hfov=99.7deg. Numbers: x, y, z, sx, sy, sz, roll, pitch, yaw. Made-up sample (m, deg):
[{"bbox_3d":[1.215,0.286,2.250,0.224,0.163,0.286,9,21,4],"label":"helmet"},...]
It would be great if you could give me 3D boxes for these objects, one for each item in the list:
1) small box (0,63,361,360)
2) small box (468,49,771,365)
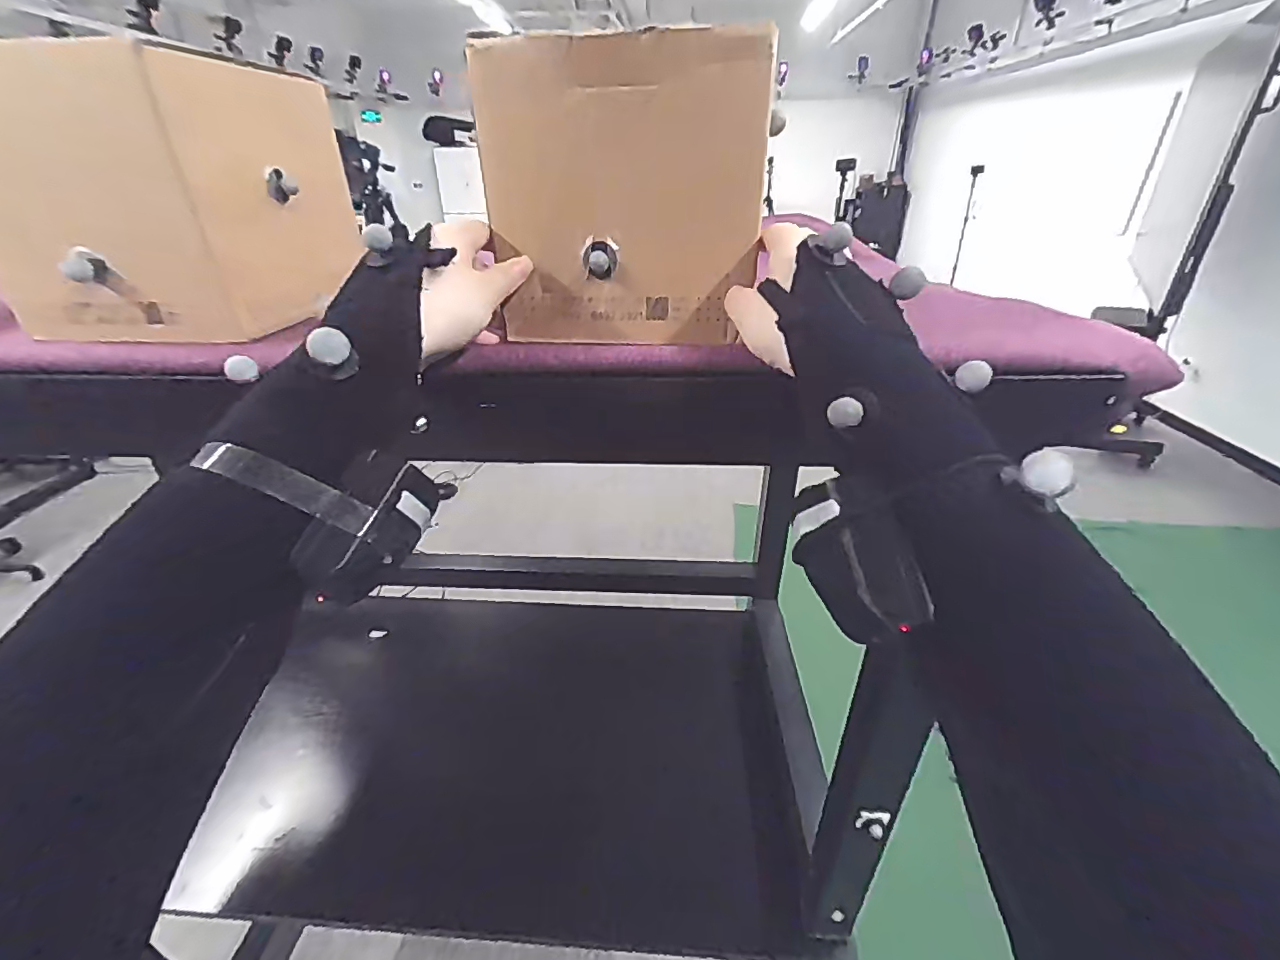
[{"bbox_3d":[-0.342,-0.201,0.411,0.168,0.176,0.179,2,32,4],"label":"small box"},{"bbox_3d":[-0.004,-0.194,0.394,0.168,0.176,0.179,2,32,6],"label":"small box"}]
